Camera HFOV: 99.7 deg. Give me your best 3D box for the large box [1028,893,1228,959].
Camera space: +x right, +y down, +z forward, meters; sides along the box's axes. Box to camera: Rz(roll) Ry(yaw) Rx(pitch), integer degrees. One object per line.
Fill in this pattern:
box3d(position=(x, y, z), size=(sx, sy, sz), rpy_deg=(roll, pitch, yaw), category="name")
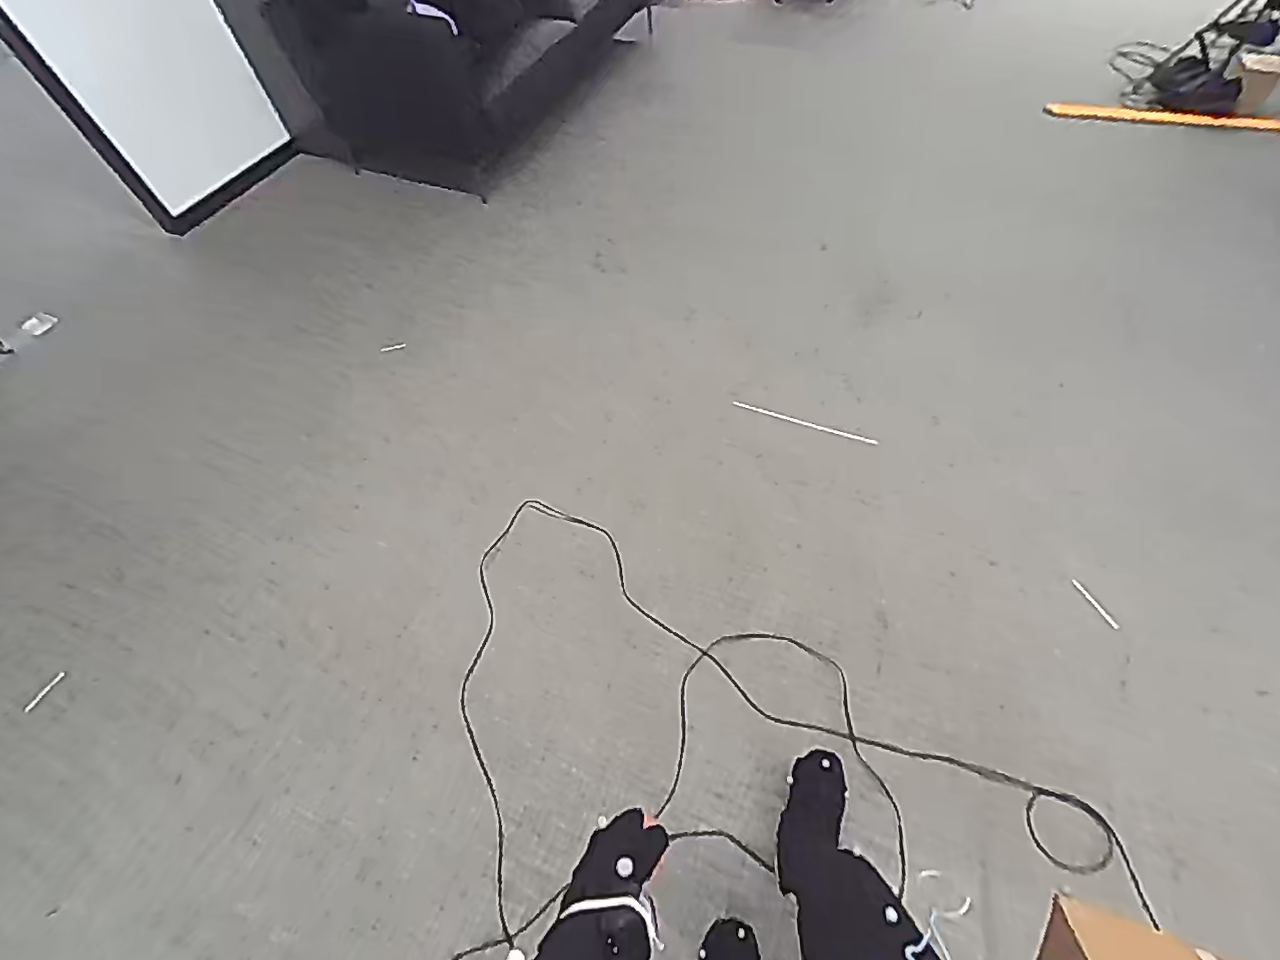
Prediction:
box3d(position=(0.612, 0.758, 0.533), size=(0.320, 0.408, 0.320), rpy_deg=(14, 95, 19), category="large box")
